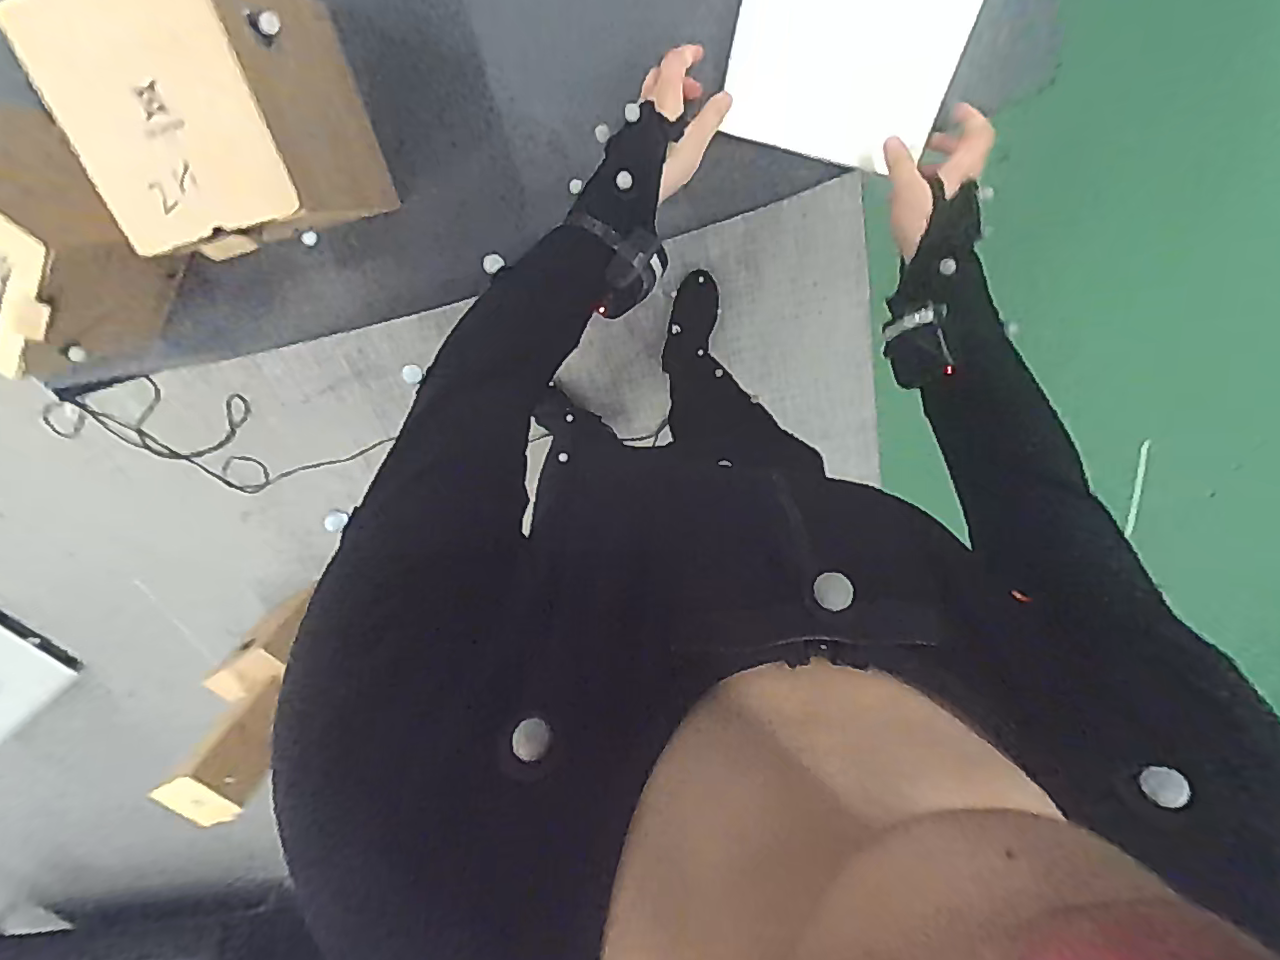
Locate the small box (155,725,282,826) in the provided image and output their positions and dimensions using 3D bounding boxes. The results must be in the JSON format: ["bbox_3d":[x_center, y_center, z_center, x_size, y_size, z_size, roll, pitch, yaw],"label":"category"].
[{"bbox_3d":[-1.145,0.799,1.482,0.168,0.176,0.179,-29,113,18],"label":"small box"}]

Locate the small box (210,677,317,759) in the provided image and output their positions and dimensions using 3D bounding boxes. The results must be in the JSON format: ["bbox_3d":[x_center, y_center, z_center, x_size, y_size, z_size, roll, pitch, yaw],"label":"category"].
[{"bbox_3d":[-1.128,0.731,1.629,0.168,0.176,0.179,-29,113,18],"label":"small box"}]

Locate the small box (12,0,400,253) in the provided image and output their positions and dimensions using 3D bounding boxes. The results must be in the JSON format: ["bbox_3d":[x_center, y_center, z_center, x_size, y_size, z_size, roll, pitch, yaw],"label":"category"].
[{"bbox_3d":[-0.356,-0.319,0.487,0.168,0.176,0.179,-9,117,11],"label":"small box"}]
